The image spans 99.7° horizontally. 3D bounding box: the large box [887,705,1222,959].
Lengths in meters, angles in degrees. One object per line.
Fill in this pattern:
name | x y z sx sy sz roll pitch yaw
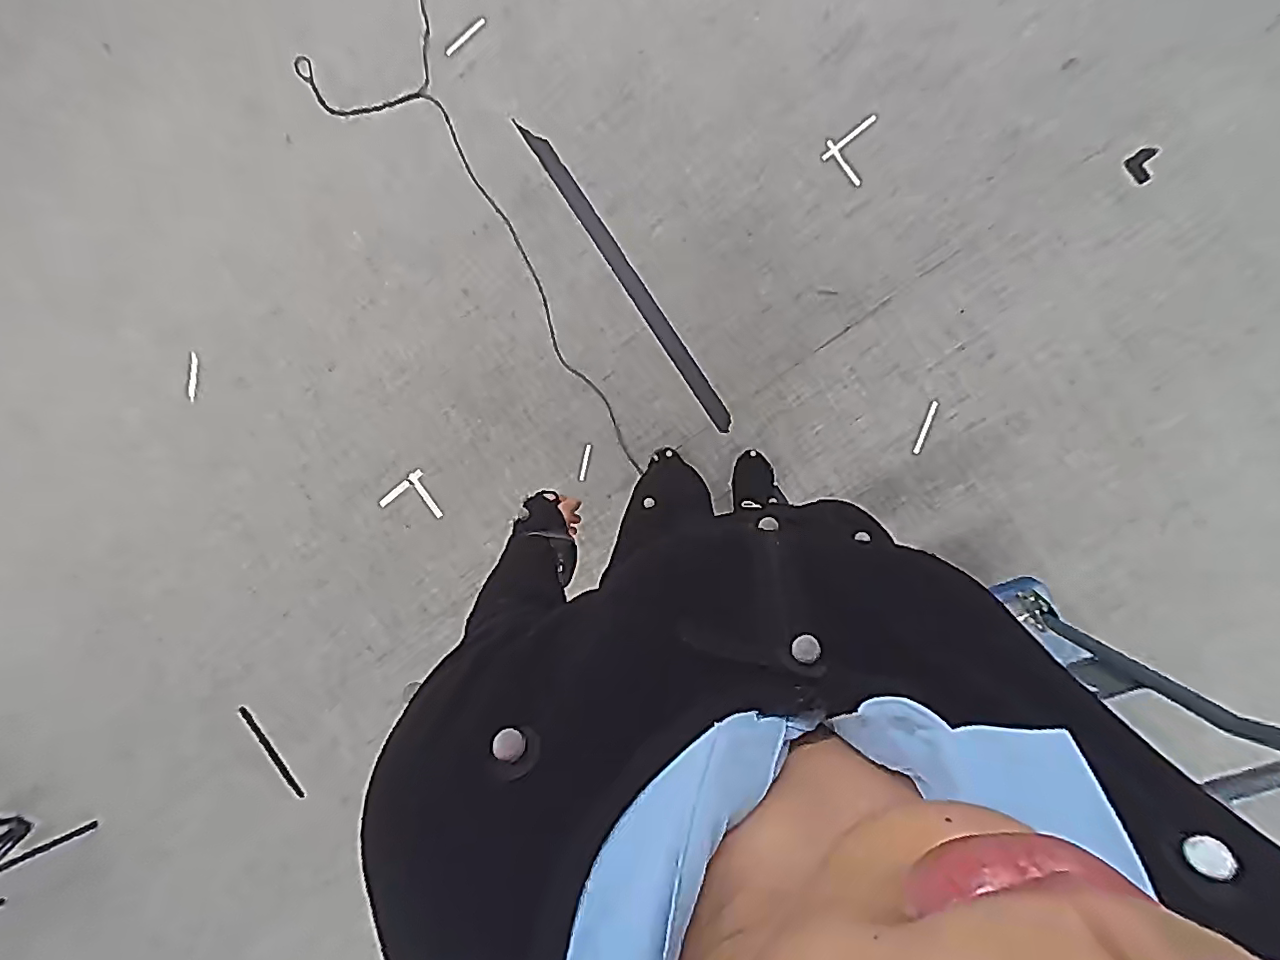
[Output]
large box | 0.809 0.740 1.131 0.408 0.320 0.320 -24 91 10
